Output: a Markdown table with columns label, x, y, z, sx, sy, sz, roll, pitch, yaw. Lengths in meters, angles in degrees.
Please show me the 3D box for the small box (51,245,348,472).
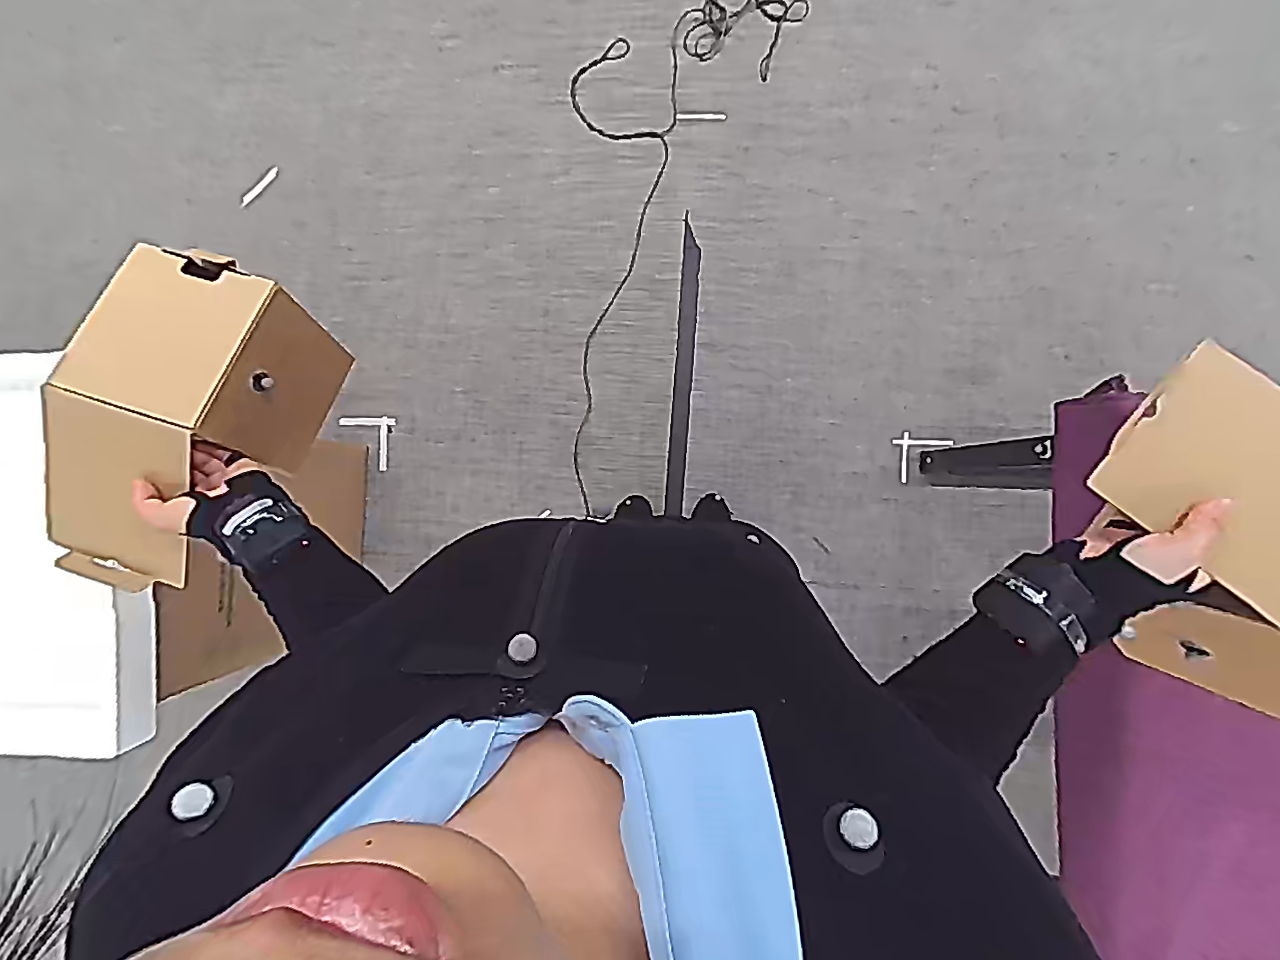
| label | x | y | z | sx | sy | sz | roll | pitch | yaw |
| --- | --- | --- | --- | --- | --- | --- | --- | --- | --- |
| small box | -0.478 | -0.126 | 0.624 | 0.168 | 0.176 | 0.179 | 17 | 74 | 4 |
